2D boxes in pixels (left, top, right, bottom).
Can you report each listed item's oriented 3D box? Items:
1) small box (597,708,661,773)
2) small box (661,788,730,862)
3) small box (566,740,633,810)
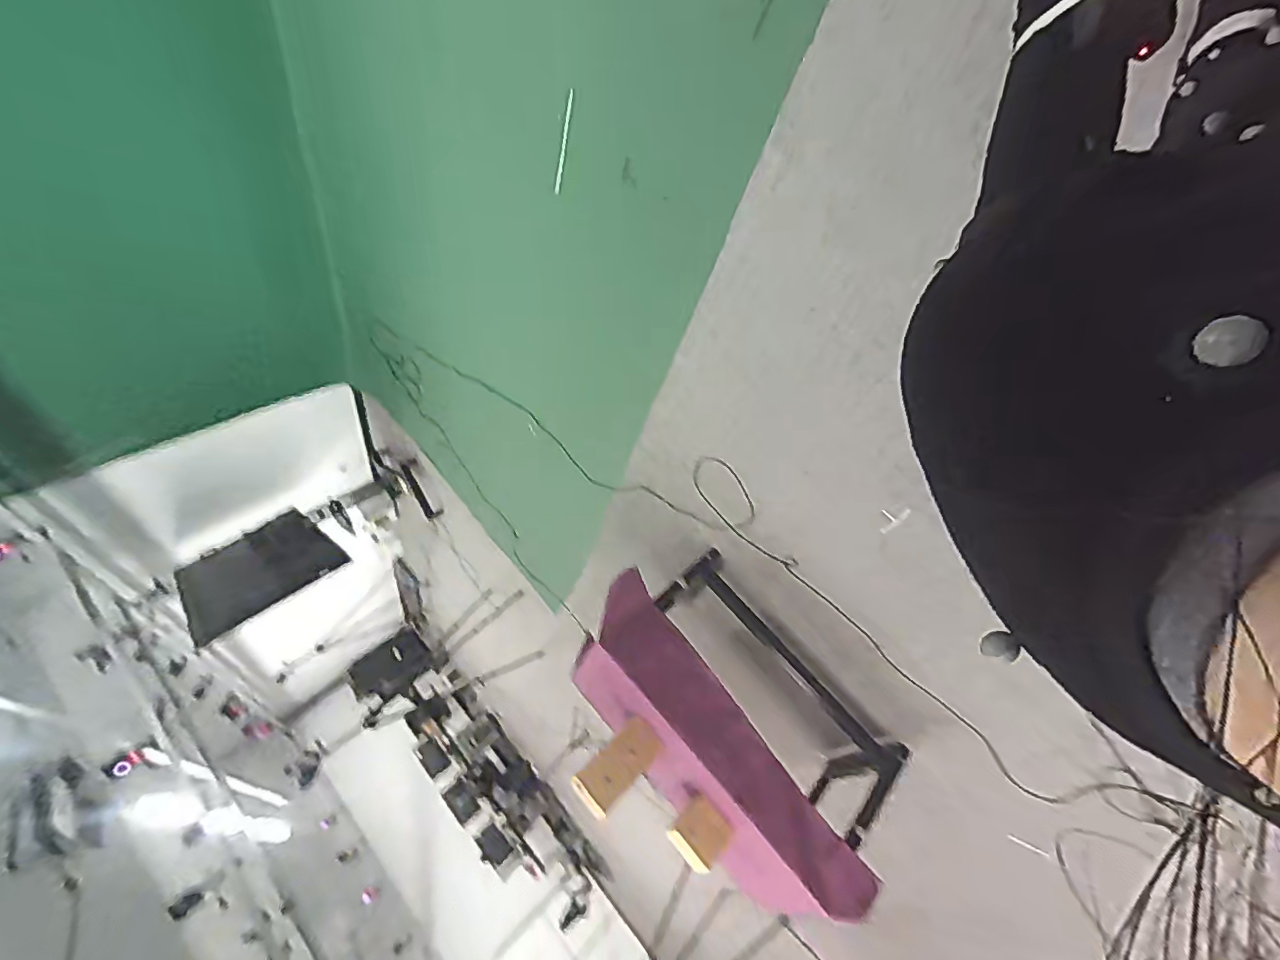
[{"bbox_3d":[-0.044,1.061,2.188,0.179,0.176,0.168,47,144,14],"label":"small box"},{"bbox_3d":[0.217,1.339,2.098,0.179,0.176,0.168,46,145,16],"label":"small box"},{"bbox_3d":[-0.157,1.138,2.097,0.179,0.176,0.168,45,144,14],"label":"small box"}]
